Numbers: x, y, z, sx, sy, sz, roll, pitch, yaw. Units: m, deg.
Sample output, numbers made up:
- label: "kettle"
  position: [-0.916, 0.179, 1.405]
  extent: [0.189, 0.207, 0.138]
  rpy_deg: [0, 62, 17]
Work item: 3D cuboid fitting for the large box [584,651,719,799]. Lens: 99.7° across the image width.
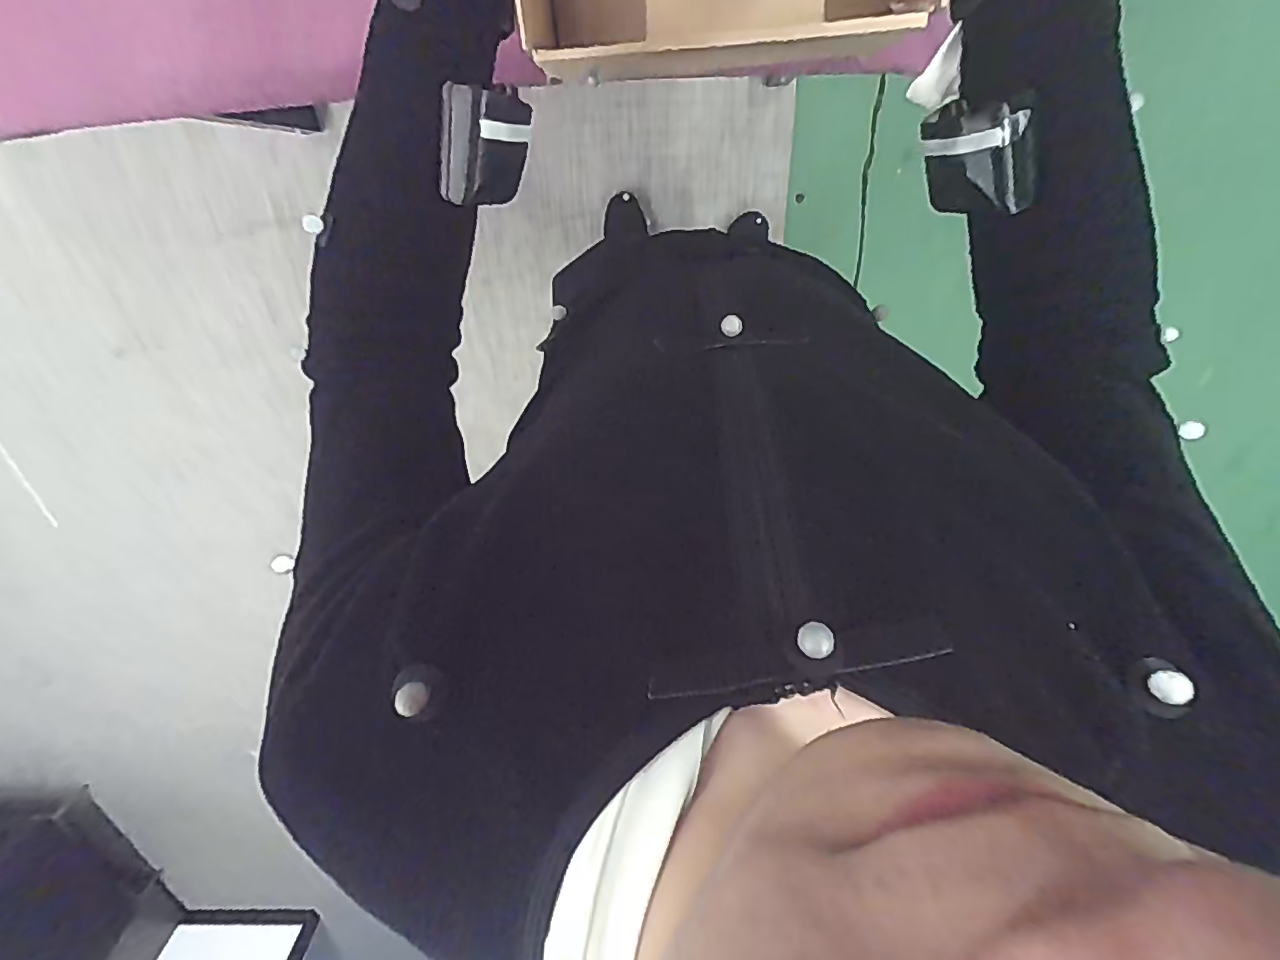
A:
- label: "large box"
  position: [0.043, 0.943, 2.092]
  extent: [0.408, 0.320, 0.320]
  rpy_deg: [-31, 113, 15]
